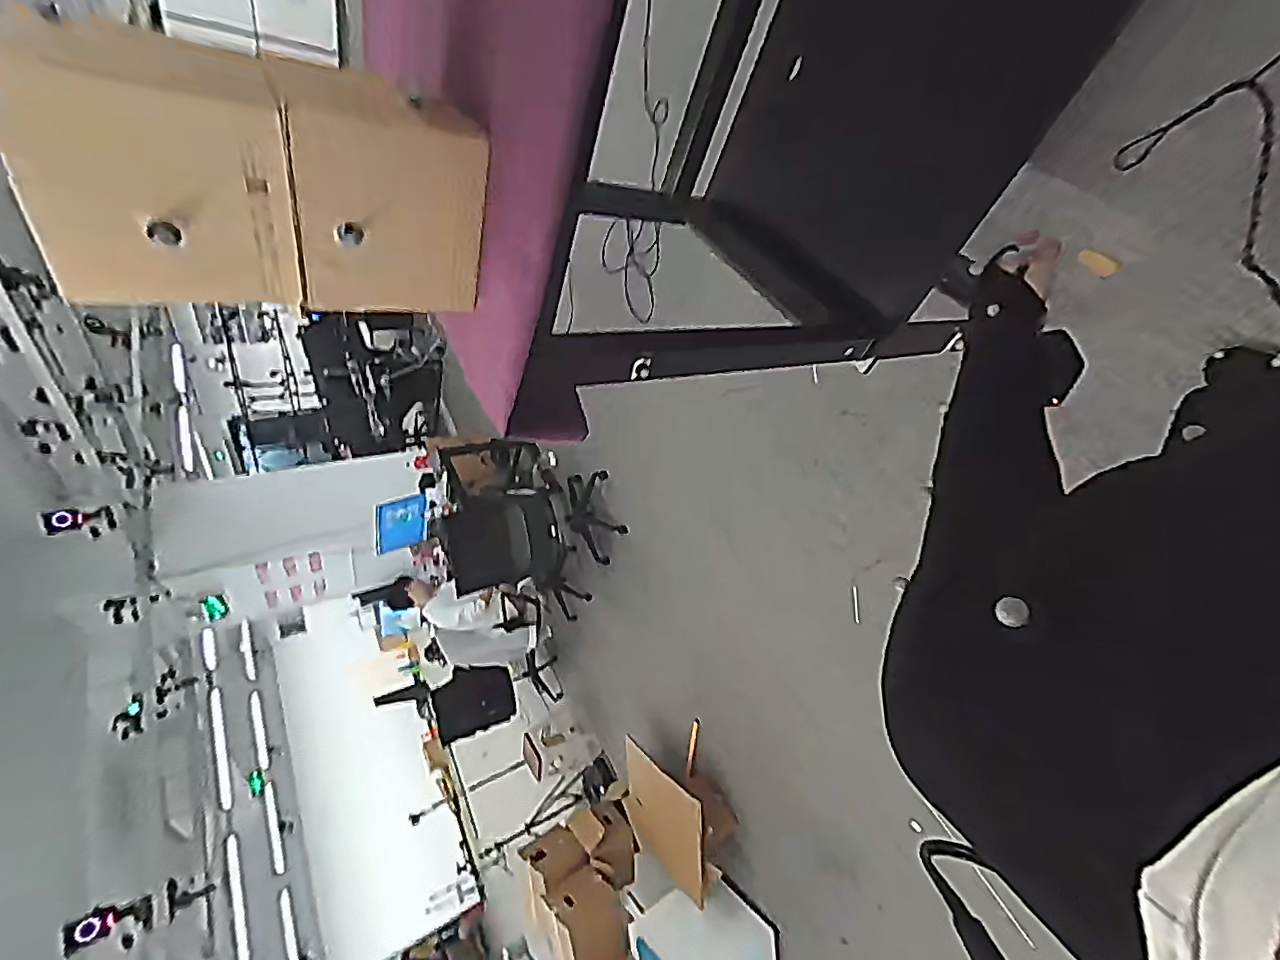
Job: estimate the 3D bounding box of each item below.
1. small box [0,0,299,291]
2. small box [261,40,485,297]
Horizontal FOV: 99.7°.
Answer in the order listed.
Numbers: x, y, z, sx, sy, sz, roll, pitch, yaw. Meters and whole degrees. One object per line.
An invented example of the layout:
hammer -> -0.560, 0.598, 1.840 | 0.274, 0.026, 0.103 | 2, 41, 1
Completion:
small box -> -0.406, -0.282, 0.471 | 0.179, 0.176, 0.168 | 54, 140, 34
small box -> -0.270, -0.305, 0.558 | 0.168, 0.176, 0.179 | 54, 139, 32
